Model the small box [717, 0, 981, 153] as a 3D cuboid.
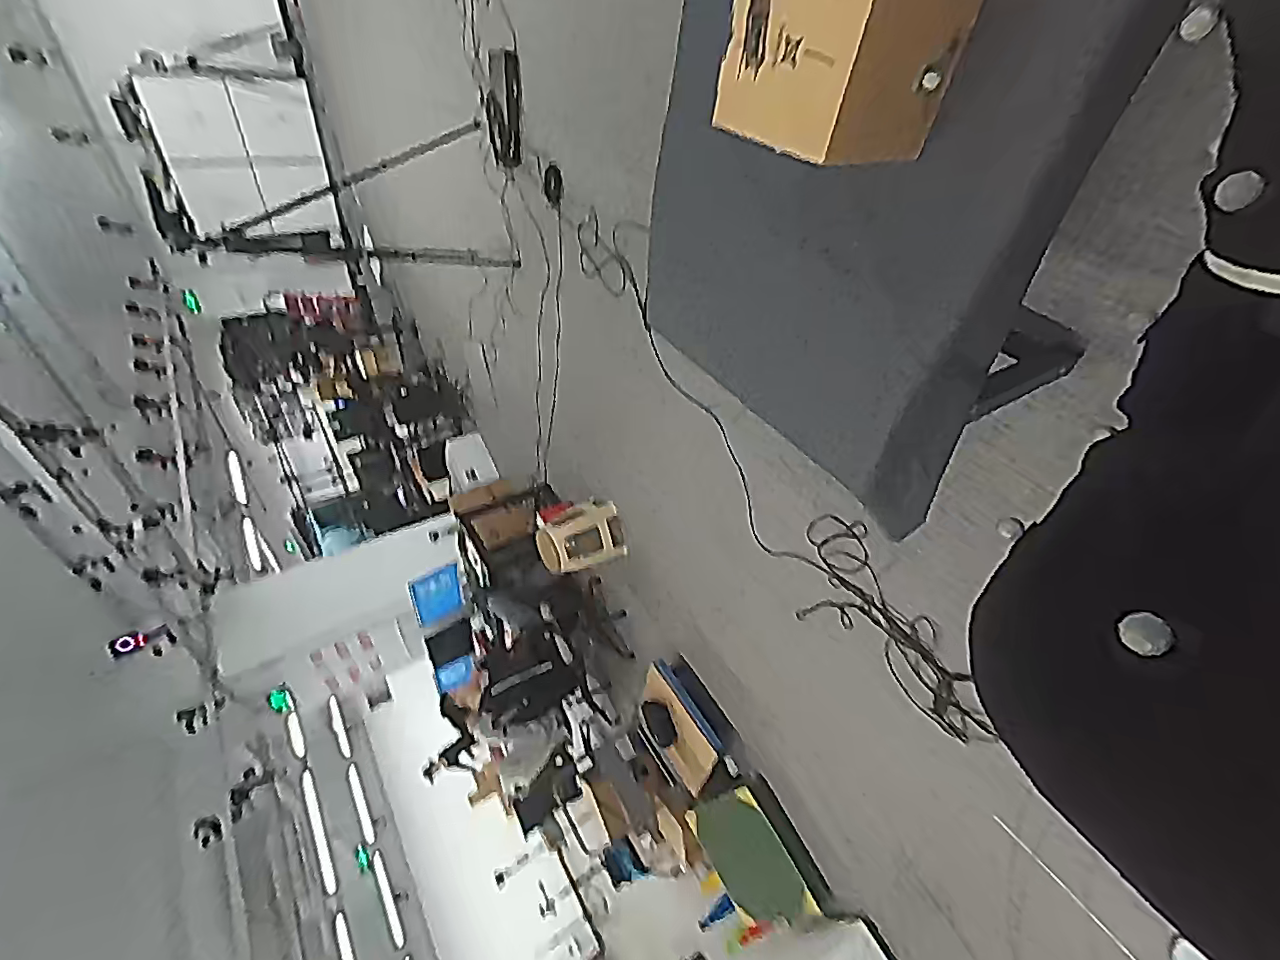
[{"bbox_3d":[0.214,-0.464,0.576,0.179,0.176,0.168,47,145,34],"label":"small box"}]
